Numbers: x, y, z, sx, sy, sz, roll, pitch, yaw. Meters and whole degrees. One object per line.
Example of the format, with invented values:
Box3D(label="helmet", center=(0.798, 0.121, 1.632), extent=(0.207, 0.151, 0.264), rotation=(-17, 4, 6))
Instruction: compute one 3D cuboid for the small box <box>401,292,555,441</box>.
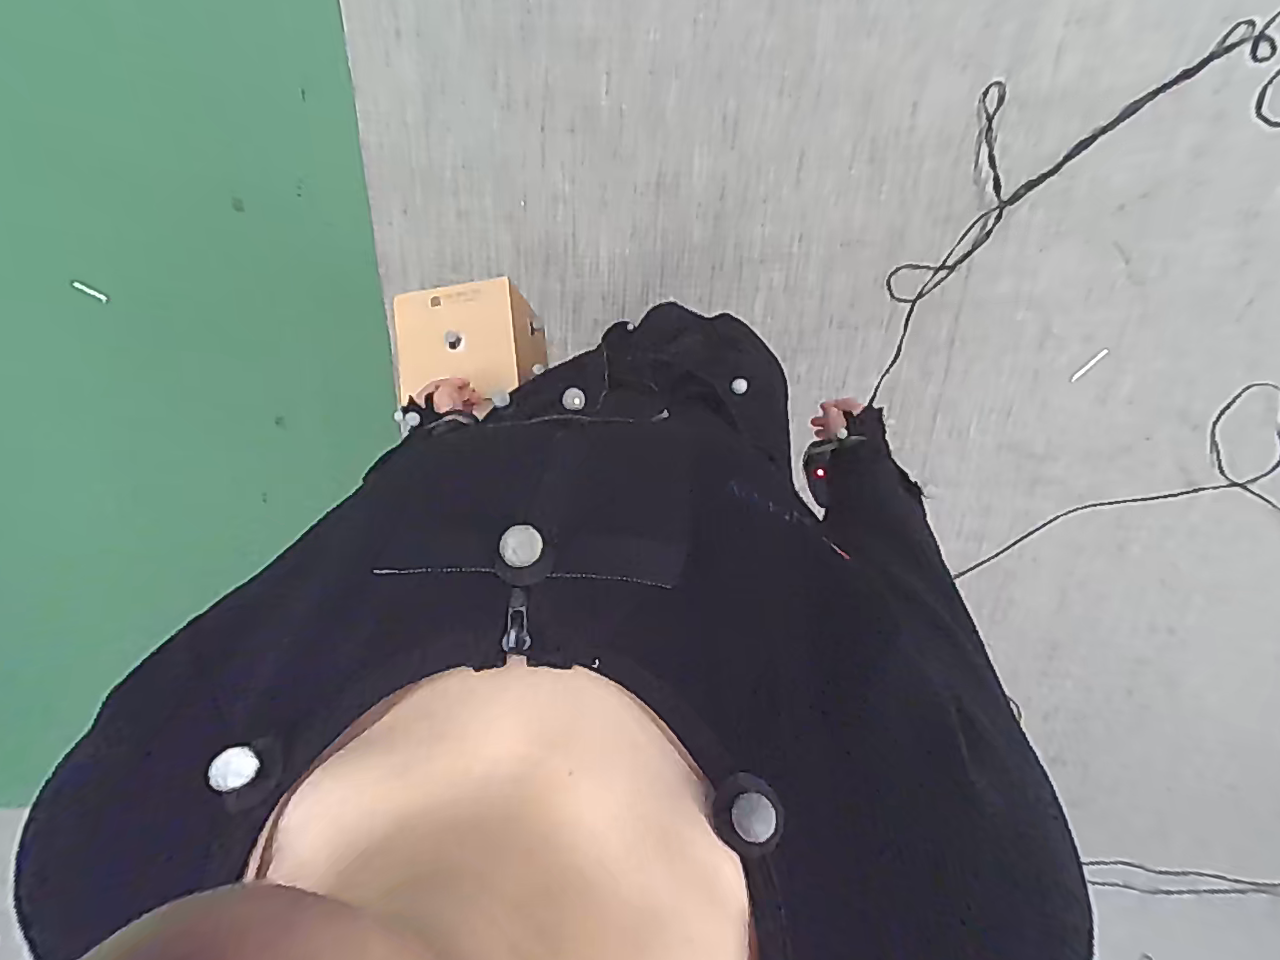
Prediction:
Box3D(label="small box", center=(-0.236, -0.168, 0.810), extent=(0.168, 0.179, 0.176), rotation=(-9, 83, 5))
